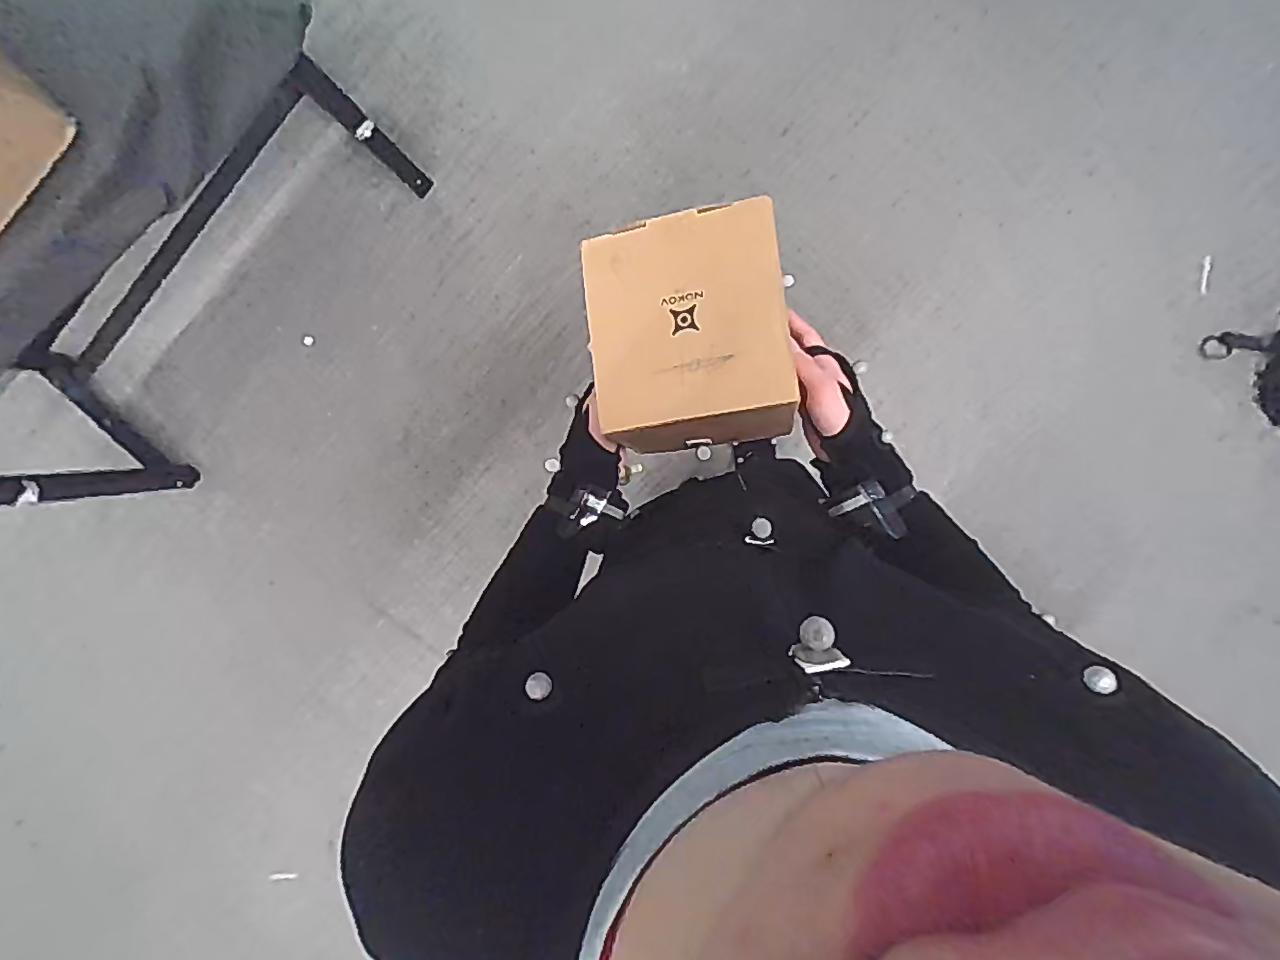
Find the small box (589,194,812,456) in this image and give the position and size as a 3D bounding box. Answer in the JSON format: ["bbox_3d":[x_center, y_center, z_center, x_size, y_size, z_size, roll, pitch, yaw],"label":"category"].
[{"bbox_3d":[0.062,-0.129,0.521,0.168,0.176,0.179,-9,84,13],"label":"small box"}]
